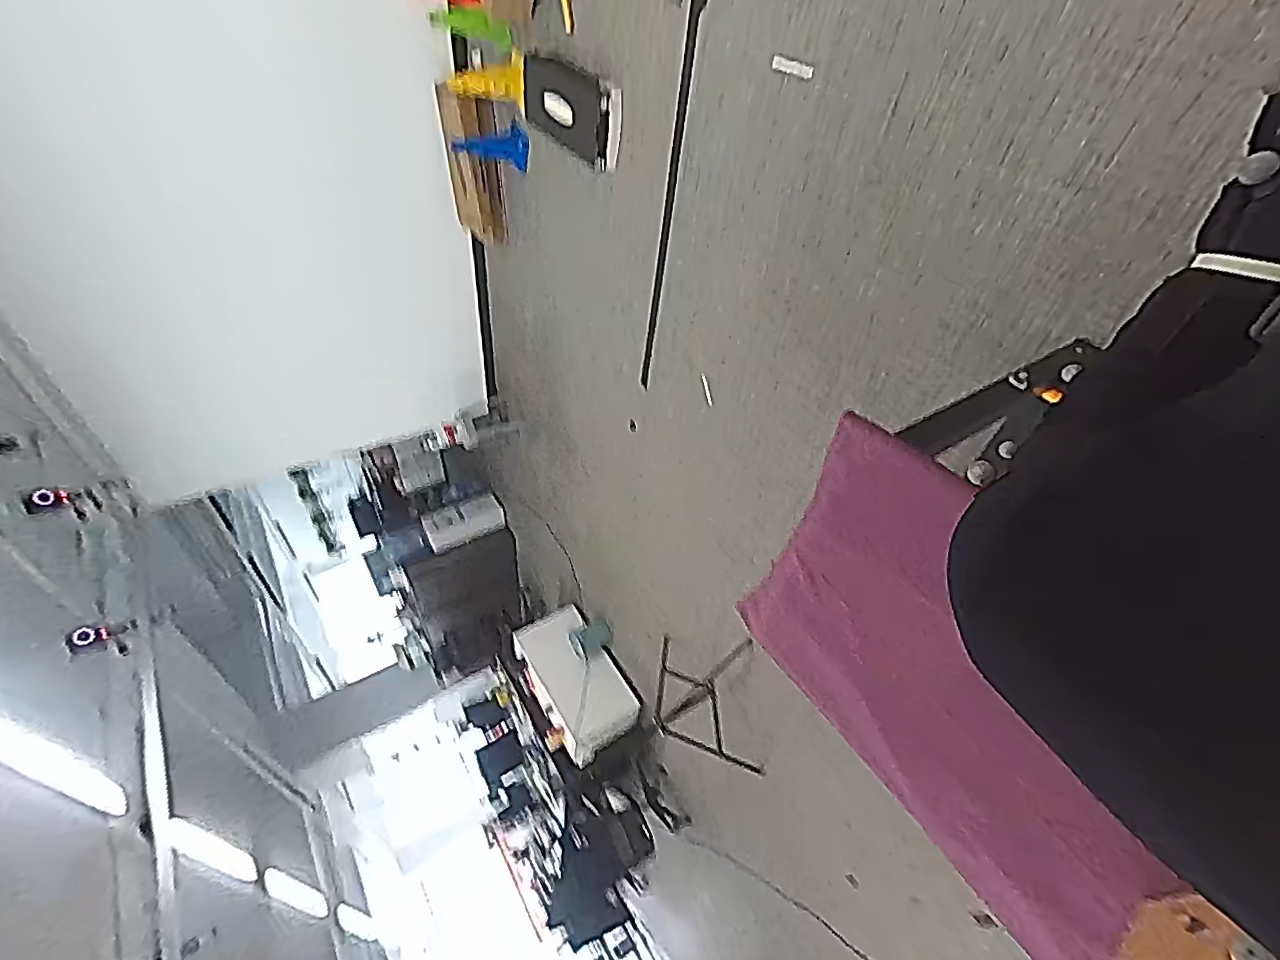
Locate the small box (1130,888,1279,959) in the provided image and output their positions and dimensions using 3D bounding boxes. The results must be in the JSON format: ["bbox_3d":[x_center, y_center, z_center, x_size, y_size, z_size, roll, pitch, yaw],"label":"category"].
[{"bbox_3d":[0.645,0.565,0.544,0.179,0.176,0.168,49,147,33],"label":"small box"}]
